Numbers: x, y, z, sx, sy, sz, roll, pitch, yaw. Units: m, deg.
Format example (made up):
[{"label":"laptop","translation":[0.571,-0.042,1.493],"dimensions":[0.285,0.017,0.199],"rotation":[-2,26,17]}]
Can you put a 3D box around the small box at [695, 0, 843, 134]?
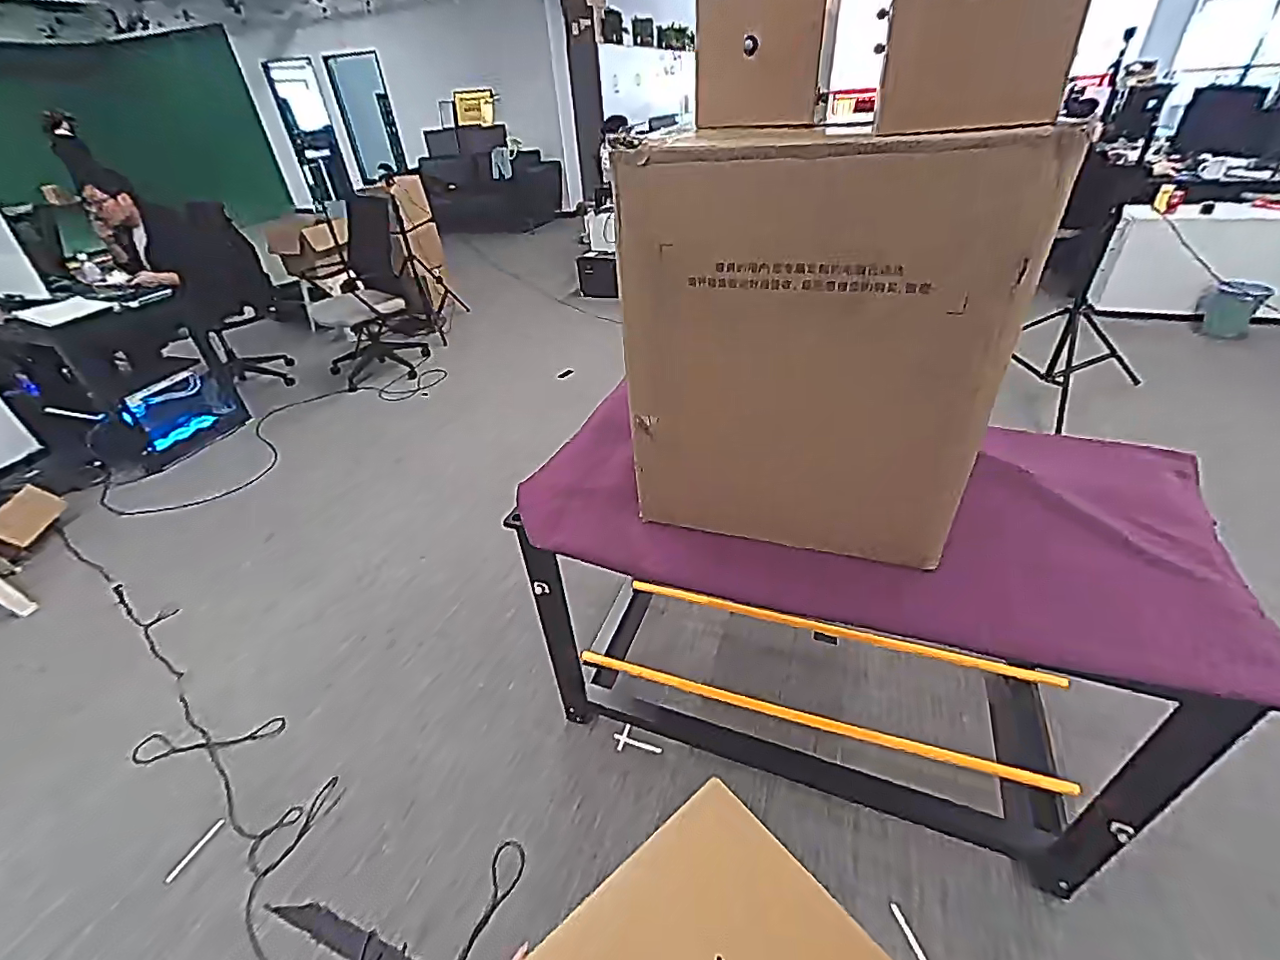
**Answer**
[{"label":"small box","translation":[0.190,-0.618,0.795],"dimensions":[0.179,0.176,0.168],"rotation":[11,37,22]}]
